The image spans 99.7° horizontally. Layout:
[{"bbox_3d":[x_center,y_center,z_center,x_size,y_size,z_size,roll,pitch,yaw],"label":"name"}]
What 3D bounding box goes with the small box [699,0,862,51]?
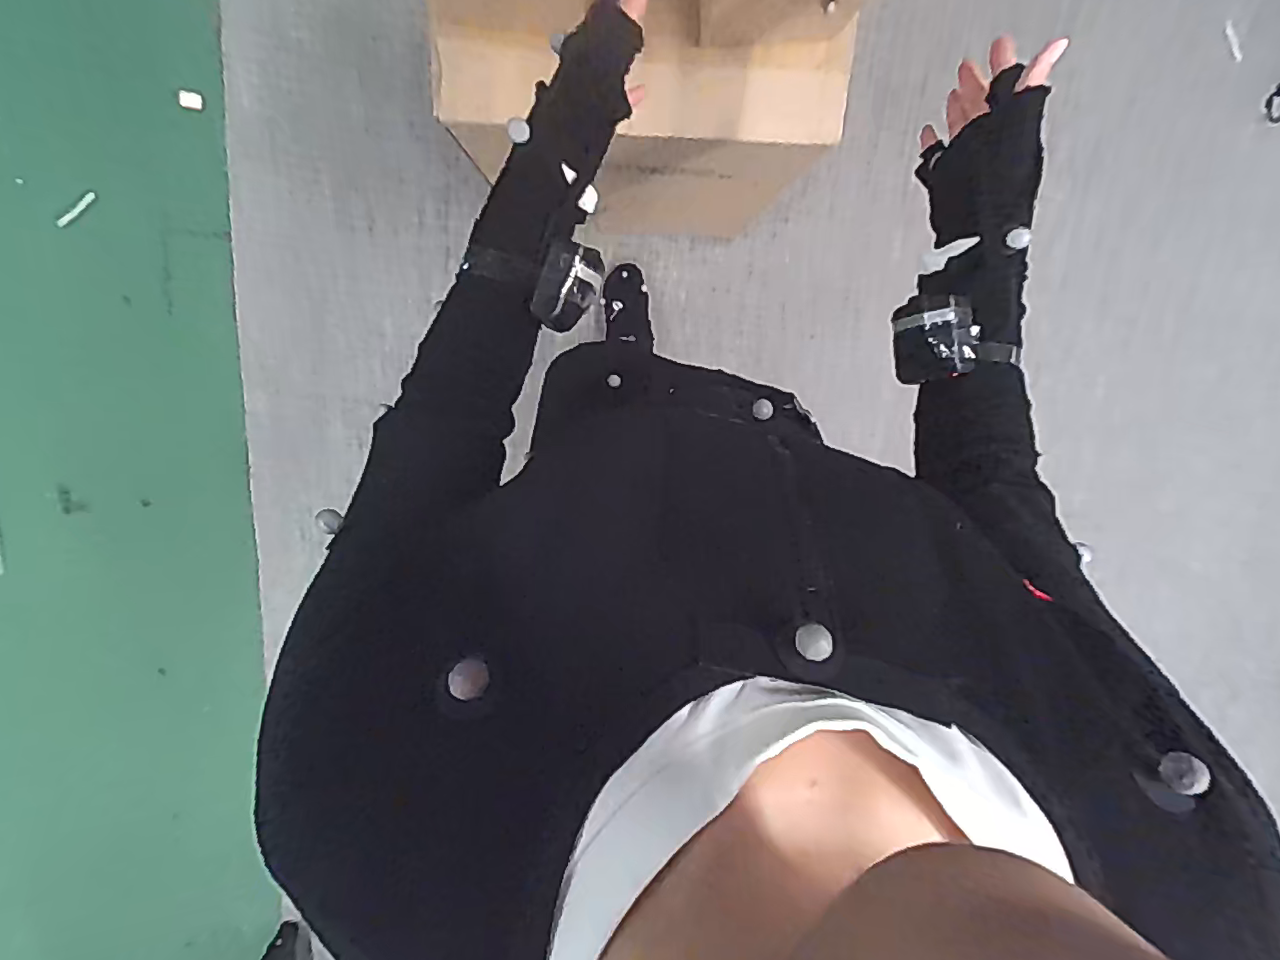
[{"bbox_3d":[0.160,-0.604,0.584,0.179,0.176,0.168,-5,104,1],"label":"small box"}]
